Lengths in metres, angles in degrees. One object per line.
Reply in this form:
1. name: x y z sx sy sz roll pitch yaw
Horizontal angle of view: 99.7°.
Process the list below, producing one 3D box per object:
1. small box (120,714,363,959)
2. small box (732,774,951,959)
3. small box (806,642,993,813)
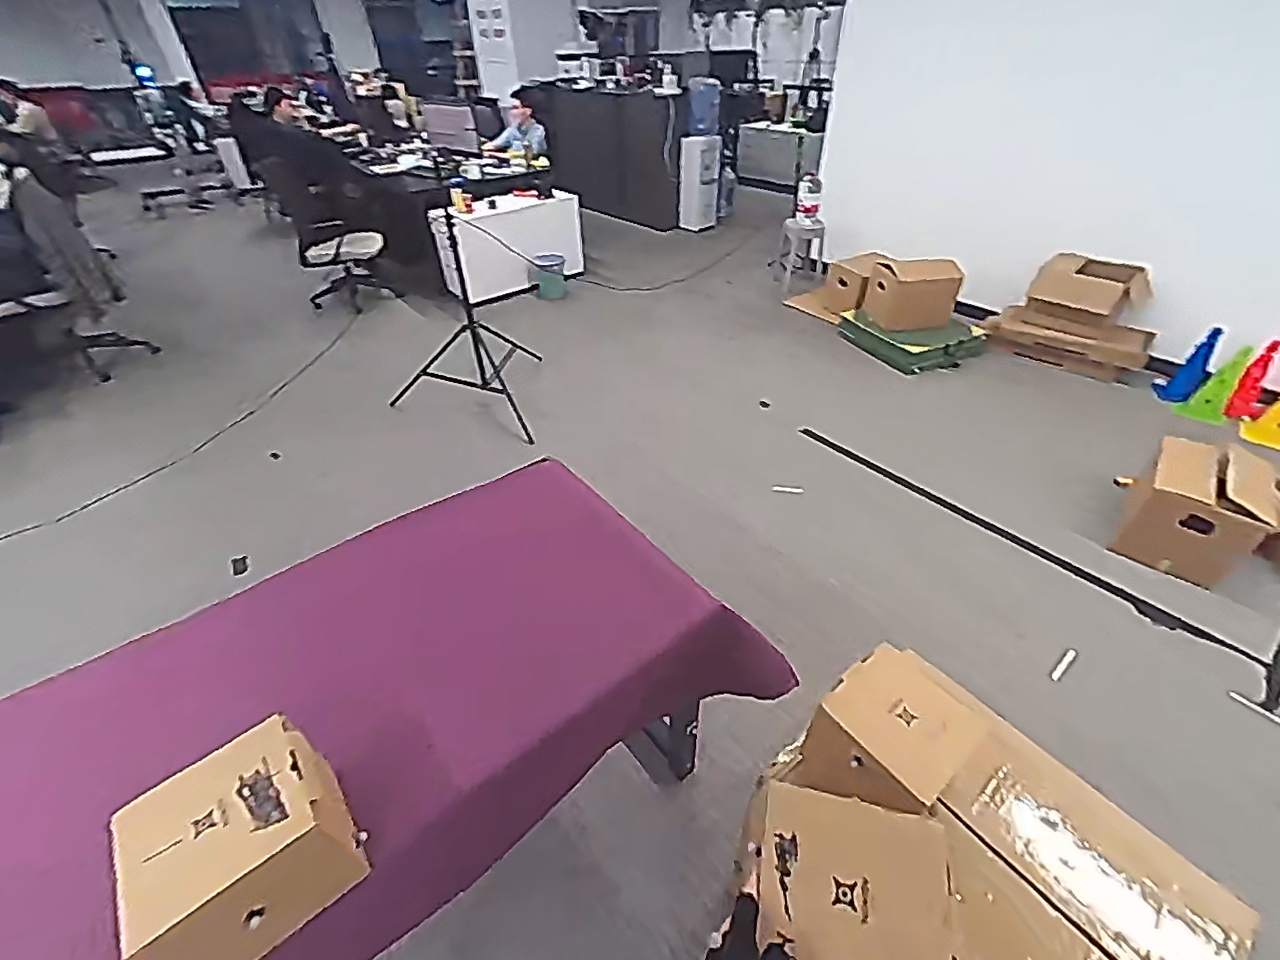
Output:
1. small box: -0.456 0.428 0.642 0.179 0.176 0.168 -29 46 -29
2. small box: 0.201 0.432 0.575 0.179 0.176 0.168 9 56 10
3. small box: 0.377 0.392 0.819 0.168 0.176 0.179 -29 48 -26
